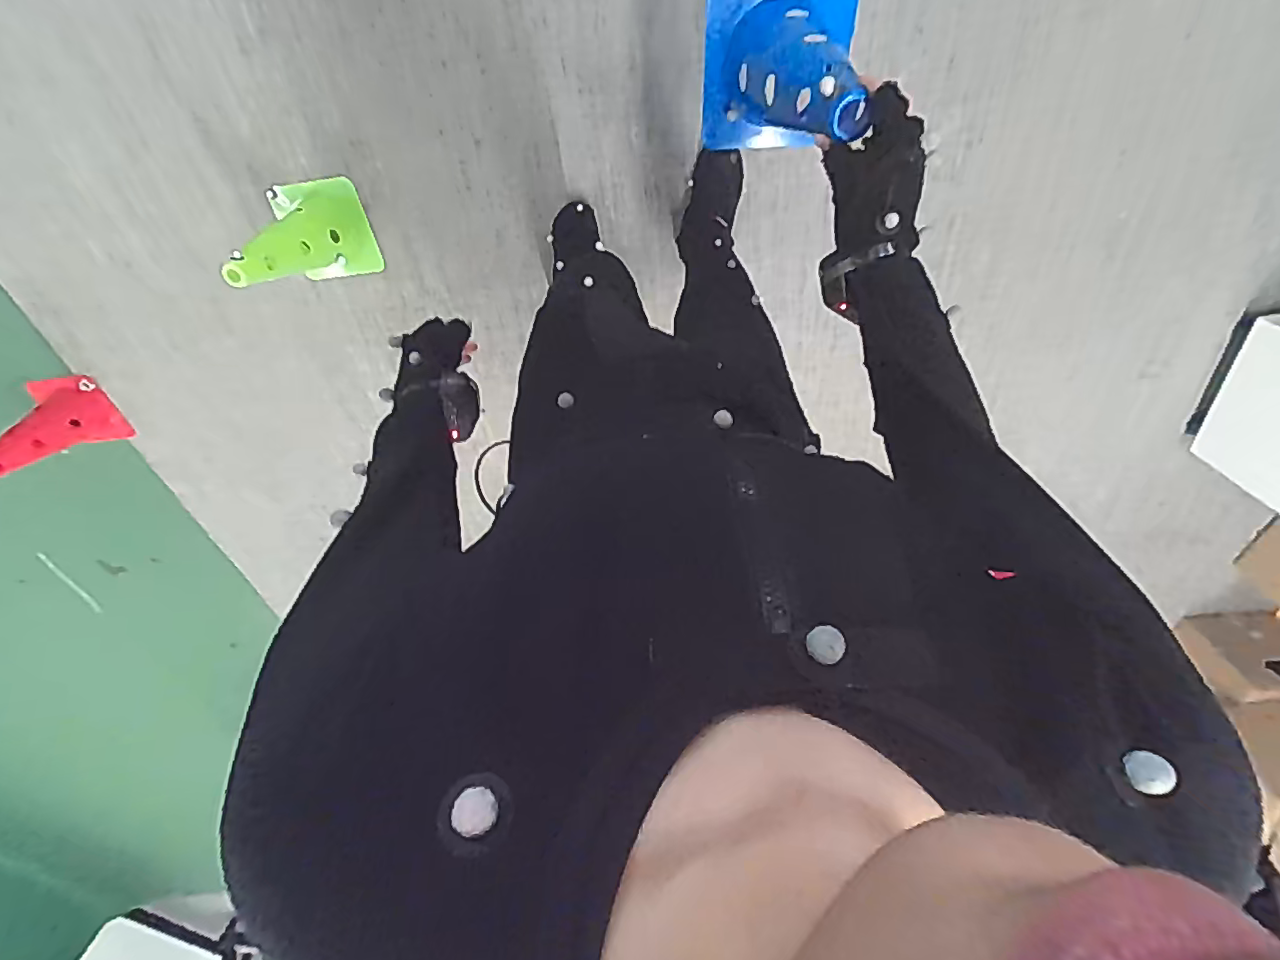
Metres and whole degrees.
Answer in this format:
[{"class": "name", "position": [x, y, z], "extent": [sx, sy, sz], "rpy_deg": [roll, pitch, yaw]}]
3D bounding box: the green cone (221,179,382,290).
[{"class": "green cone", "position": [-0.712, -0.453, 1.084], "extent": [0.202, 0.368, 0.200], "rpy_deg": [-7, 127, 5]}]
